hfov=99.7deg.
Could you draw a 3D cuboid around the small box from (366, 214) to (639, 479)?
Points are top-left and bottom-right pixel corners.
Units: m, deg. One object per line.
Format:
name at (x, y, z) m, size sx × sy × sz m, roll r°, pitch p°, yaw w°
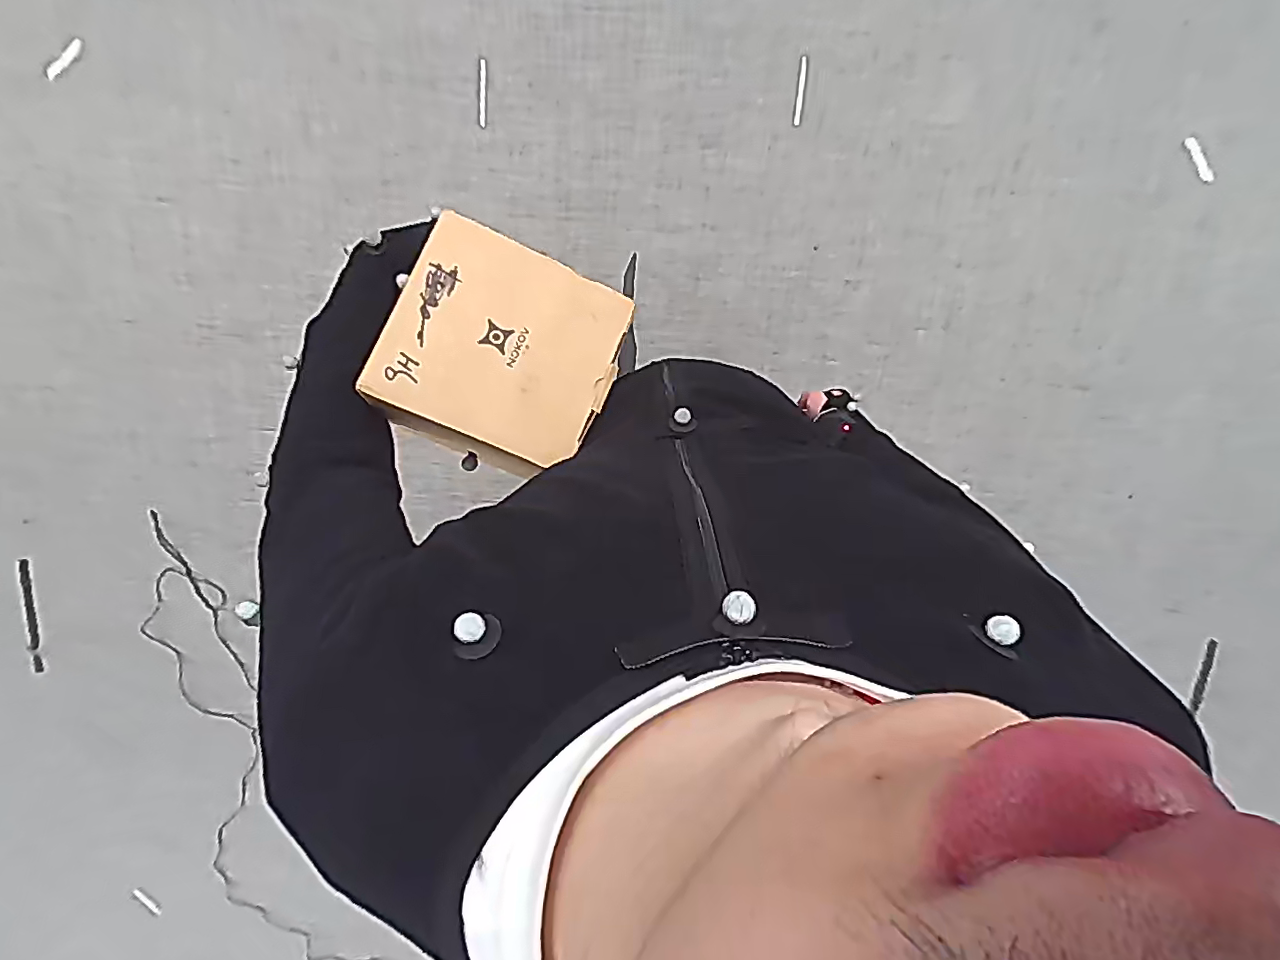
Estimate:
small box at (-0.127, -0.107, 0.523) m, size 0.179 × 0.176 × 0.168 m, roll 23°, pitch 80°, yaw -12°
